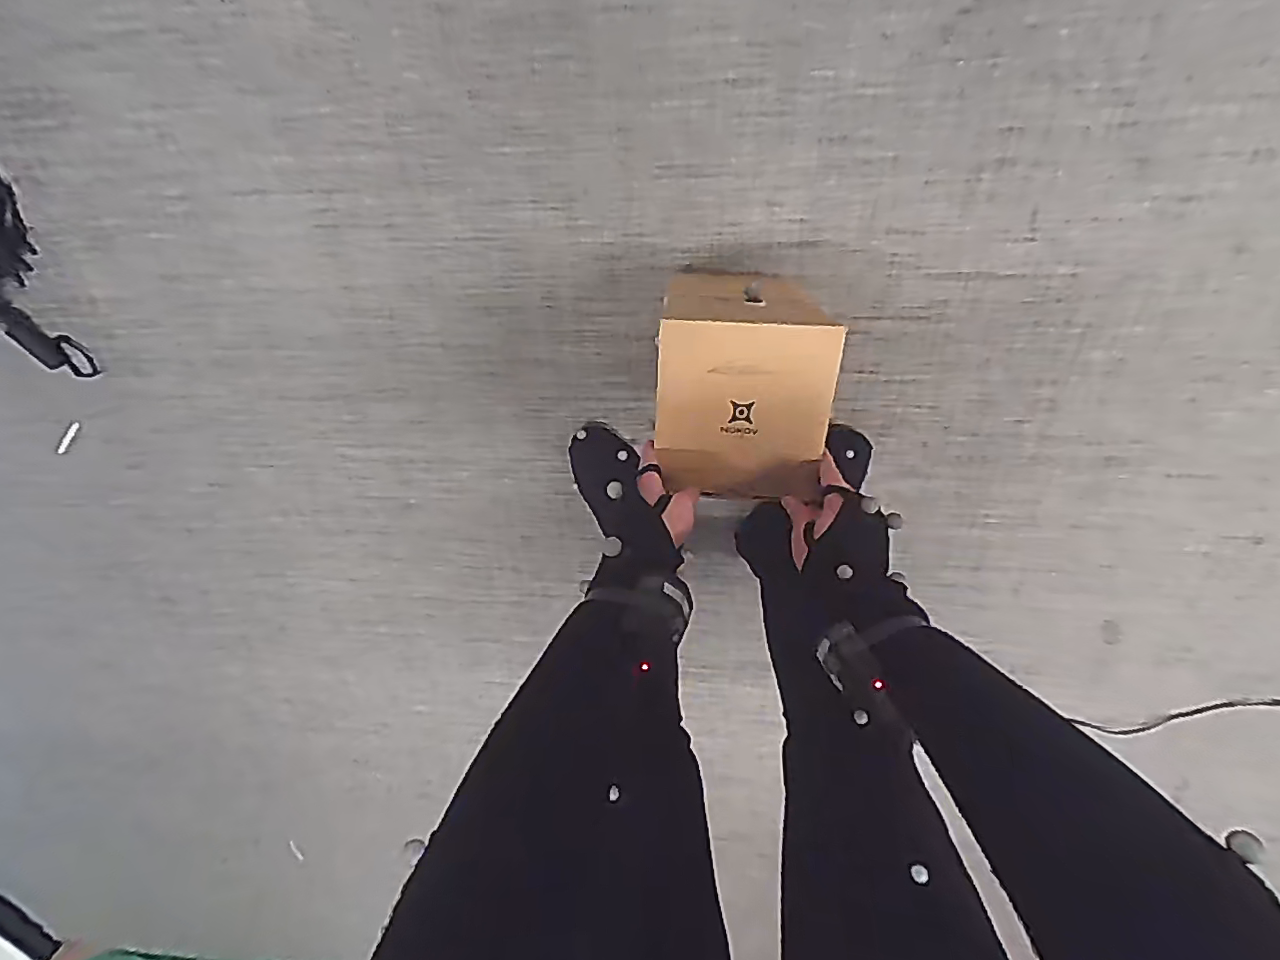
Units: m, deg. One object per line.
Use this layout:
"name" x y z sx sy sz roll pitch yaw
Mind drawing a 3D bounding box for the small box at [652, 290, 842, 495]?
"small box" 0.103 -0.102 0.590 0.168 0.176 0.179 3 117 4

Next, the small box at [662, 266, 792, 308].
"small box" 0.114 -0.180 0.734 0.168 0.176 0.179 5 120 4
